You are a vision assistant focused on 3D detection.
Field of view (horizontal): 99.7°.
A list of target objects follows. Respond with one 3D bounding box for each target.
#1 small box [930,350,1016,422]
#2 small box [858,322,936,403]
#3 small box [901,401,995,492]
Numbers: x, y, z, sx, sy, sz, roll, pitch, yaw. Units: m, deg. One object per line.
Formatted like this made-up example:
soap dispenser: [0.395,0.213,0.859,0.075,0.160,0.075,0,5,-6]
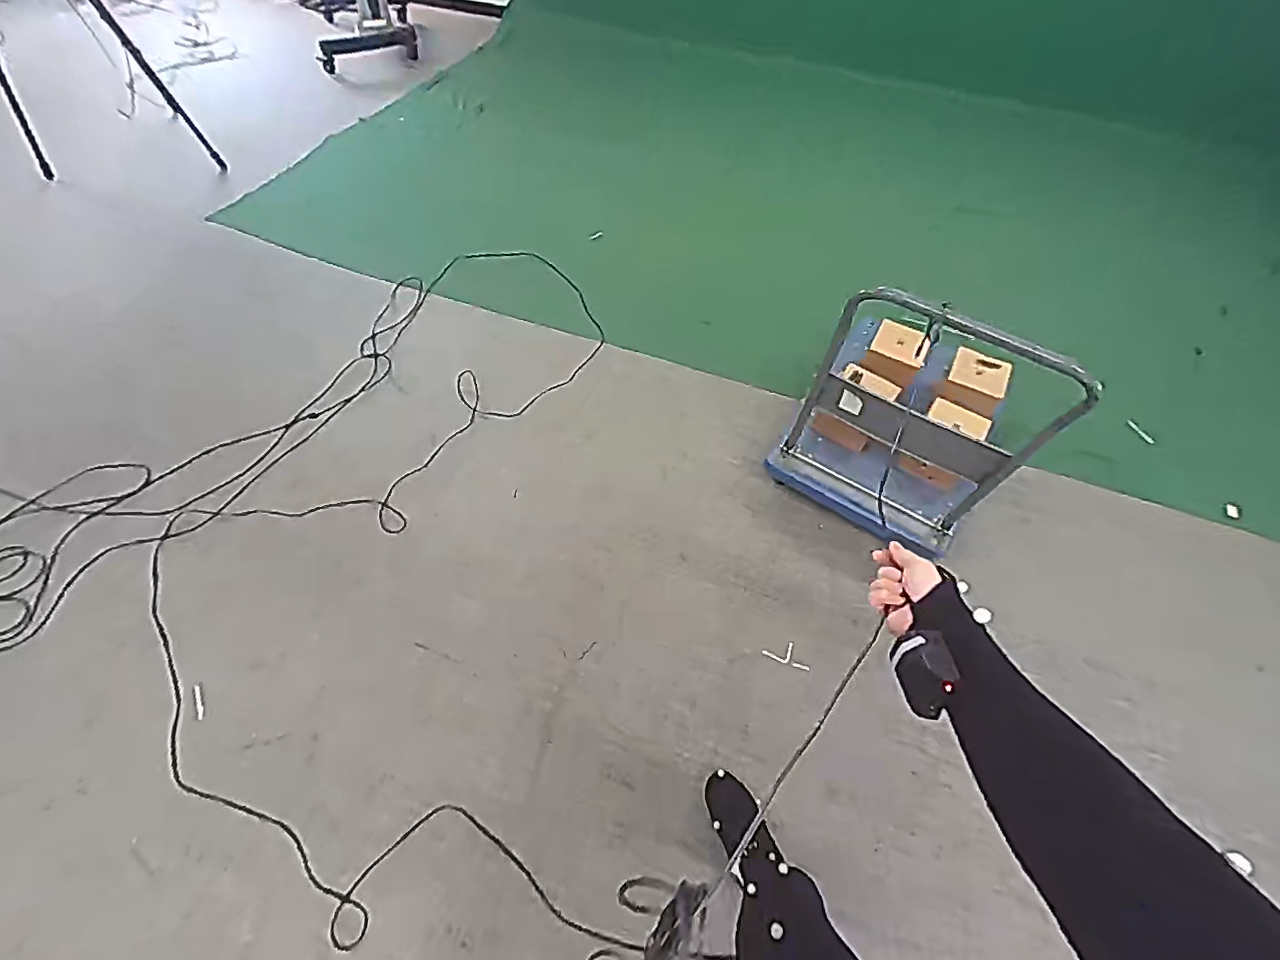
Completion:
small box: [1.073,-0.283,1.752,0.168,0.176,0.179,26,60,16]
small box: [0.856,-0.392,1.819,0.168,0.176,0.179,27,60,15]
small box: [0.920,-0.098,1.627,0.168,0.176,0.179,31,61,18]
